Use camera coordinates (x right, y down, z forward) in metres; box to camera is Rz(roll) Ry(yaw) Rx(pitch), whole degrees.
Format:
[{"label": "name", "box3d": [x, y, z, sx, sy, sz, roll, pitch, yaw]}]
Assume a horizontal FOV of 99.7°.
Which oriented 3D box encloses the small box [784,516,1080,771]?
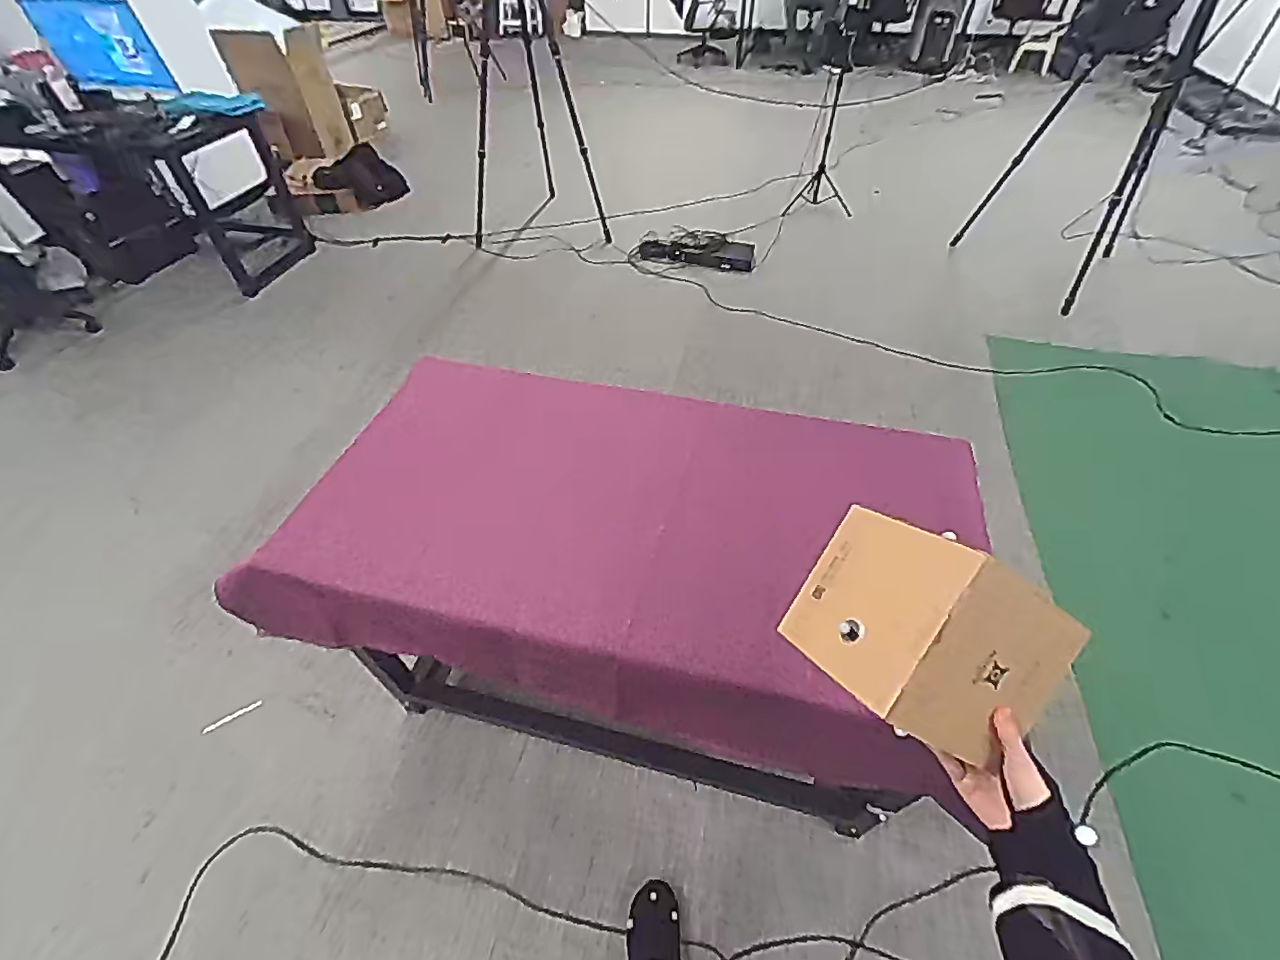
[{"label": "small box", "box3d": [0.285, 0.153, 0.559, 0.168, 0.179, 0.176, -59, 21, 1]}]
